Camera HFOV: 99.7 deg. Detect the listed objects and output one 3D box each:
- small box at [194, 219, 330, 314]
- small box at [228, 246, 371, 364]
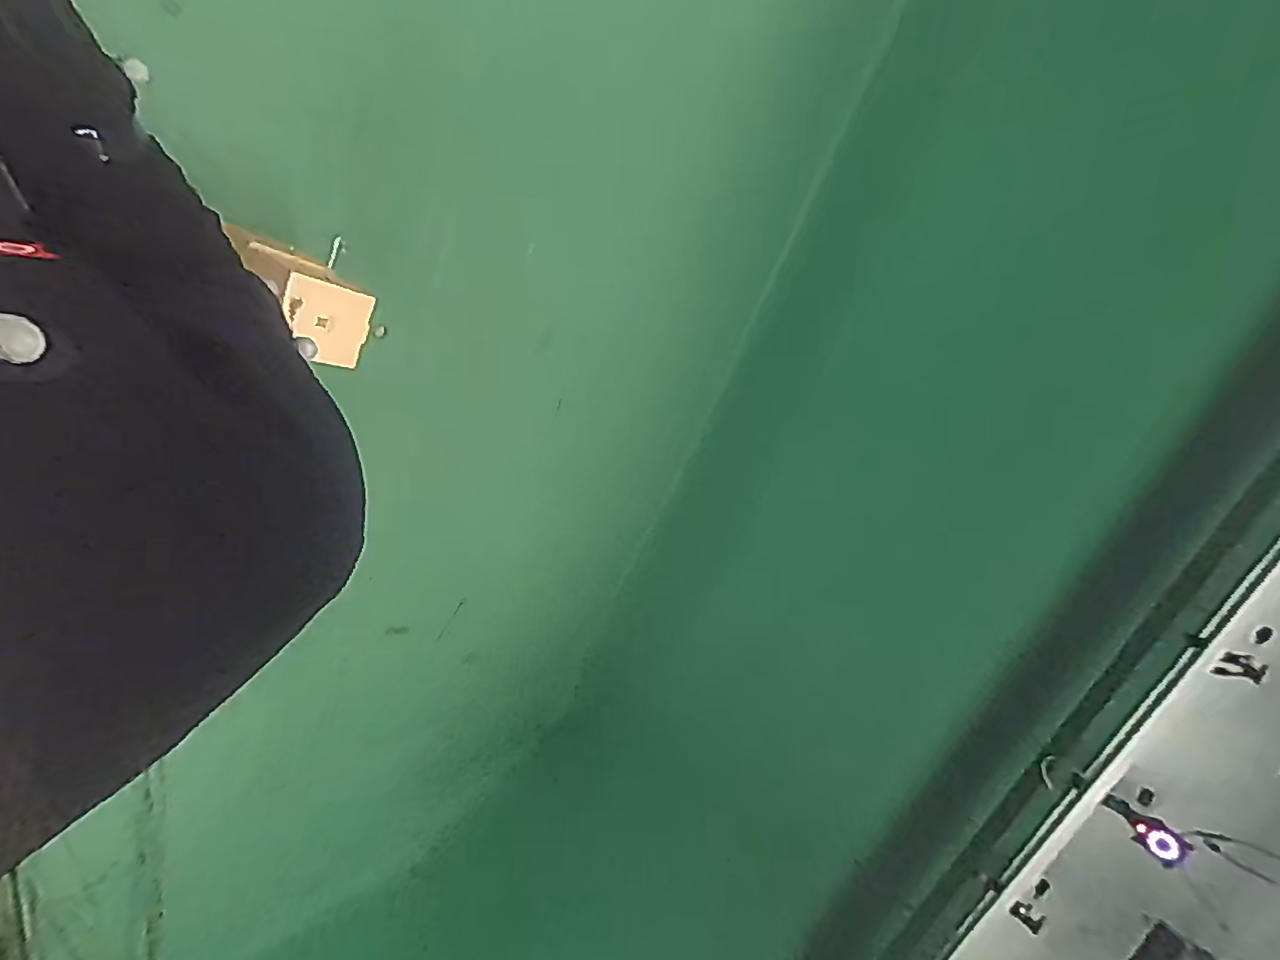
[{"bbox_3d":[-0.831,-0.447,1.188,0.179,0.176,0.168,3,115,-59],"label":"small box"},{"bbox_3d":[-0.706,-0.362,1.123,0.179,0.176,0.168,0,118,-61],"label":"small box"}]
